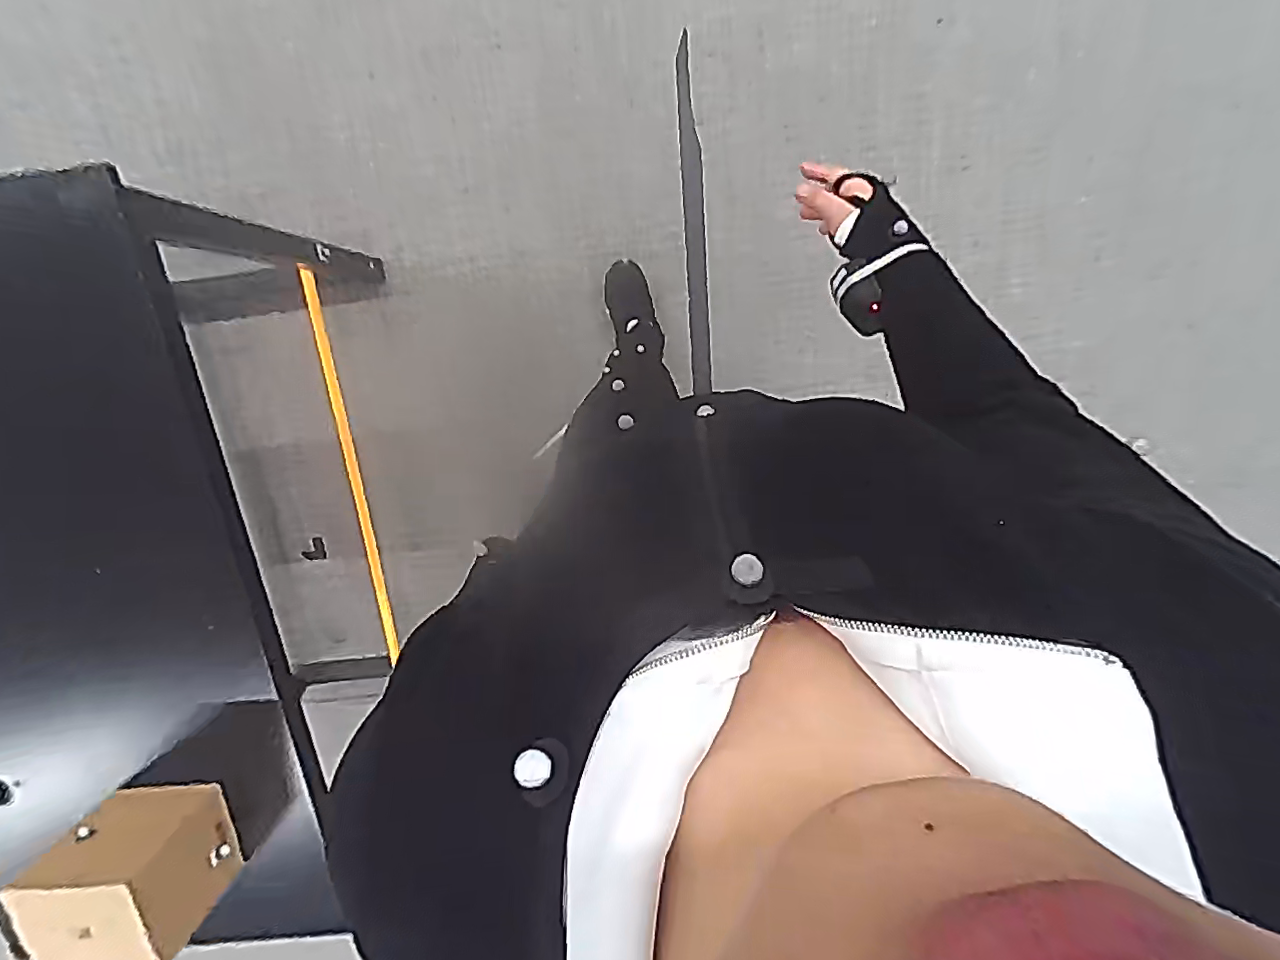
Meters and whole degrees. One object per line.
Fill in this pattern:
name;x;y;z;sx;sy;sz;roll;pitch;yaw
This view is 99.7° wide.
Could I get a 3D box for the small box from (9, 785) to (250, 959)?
small box;-0.740;0.589;0.807;0.179;0.176;0.168;-5;106;1
